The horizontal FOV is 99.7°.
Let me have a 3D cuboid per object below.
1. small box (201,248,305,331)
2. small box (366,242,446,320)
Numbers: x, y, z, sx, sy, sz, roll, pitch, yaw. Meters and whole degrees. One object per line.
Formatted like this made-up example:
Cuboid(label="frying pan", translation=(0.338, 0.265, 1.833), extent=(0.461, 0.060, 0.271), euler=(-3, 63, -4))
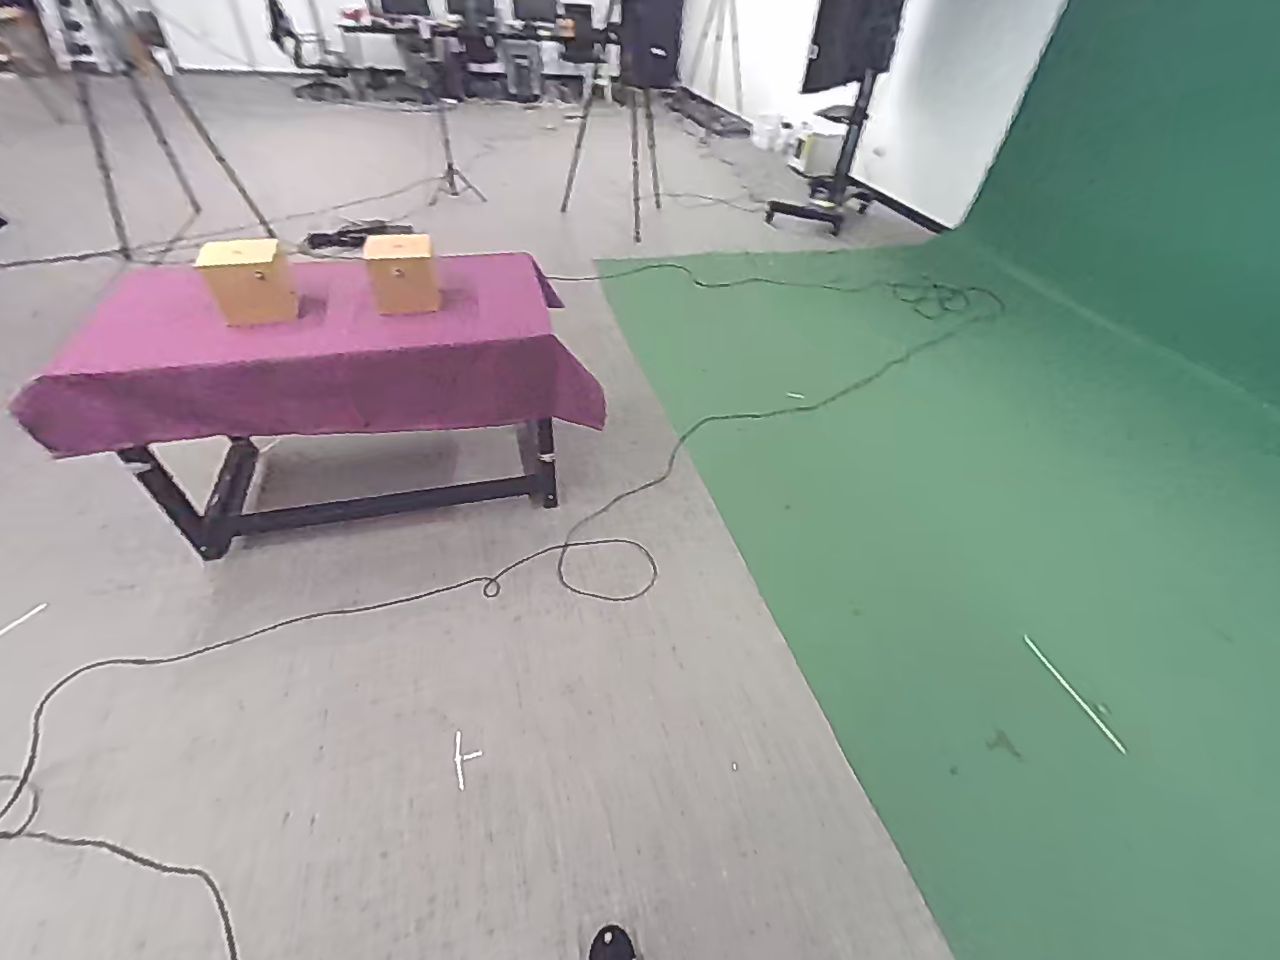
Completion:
Cuboid(label="small box", translation=(-1.064, -0.528, 1.502), extent=(0.179, 0.176, 0.168), euler=(-11, 45, -17))
Cuboid(label="small box", translation=(-0.682, -0.584, 1.592), extent=(0.179, 0.176, 0.168), euler=(-6, 45, -12))
